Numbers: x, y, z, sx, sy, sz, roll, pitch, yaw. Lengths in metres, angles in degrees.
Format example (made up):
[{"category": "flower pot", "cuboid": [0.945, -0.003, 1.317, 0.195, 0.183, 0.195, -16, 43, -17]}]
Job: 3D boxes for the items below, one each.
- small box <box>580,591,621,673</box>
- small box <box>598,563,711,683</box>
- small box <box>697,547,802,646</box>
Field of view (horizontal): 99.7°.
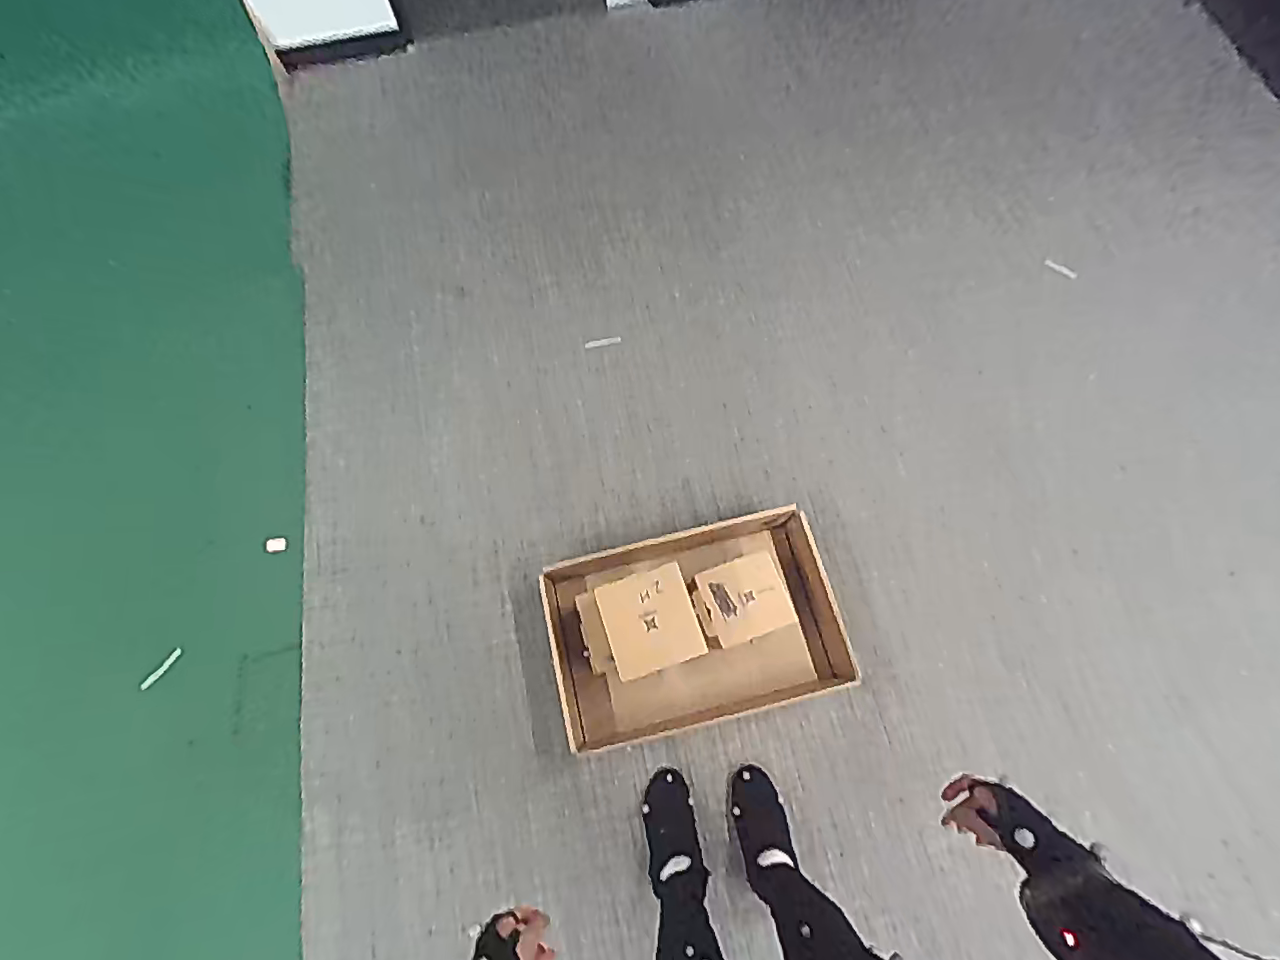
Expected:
[{"category": "small box", "cuboid": [-0.023, 0.324, 1.211, 0.179, 0.176, 0.168, -17, 73, -5]}, {"category": "small box", "cuboid": [0.026, 0.278, 1.054, 0.168, 0.176, 0.179, -18, 73, -6]}, {"category": "small box", "cuboid": [0.236, 0.269, 1.220, 0.179, 0.176, 0.168, -20, 72, -4]}]
